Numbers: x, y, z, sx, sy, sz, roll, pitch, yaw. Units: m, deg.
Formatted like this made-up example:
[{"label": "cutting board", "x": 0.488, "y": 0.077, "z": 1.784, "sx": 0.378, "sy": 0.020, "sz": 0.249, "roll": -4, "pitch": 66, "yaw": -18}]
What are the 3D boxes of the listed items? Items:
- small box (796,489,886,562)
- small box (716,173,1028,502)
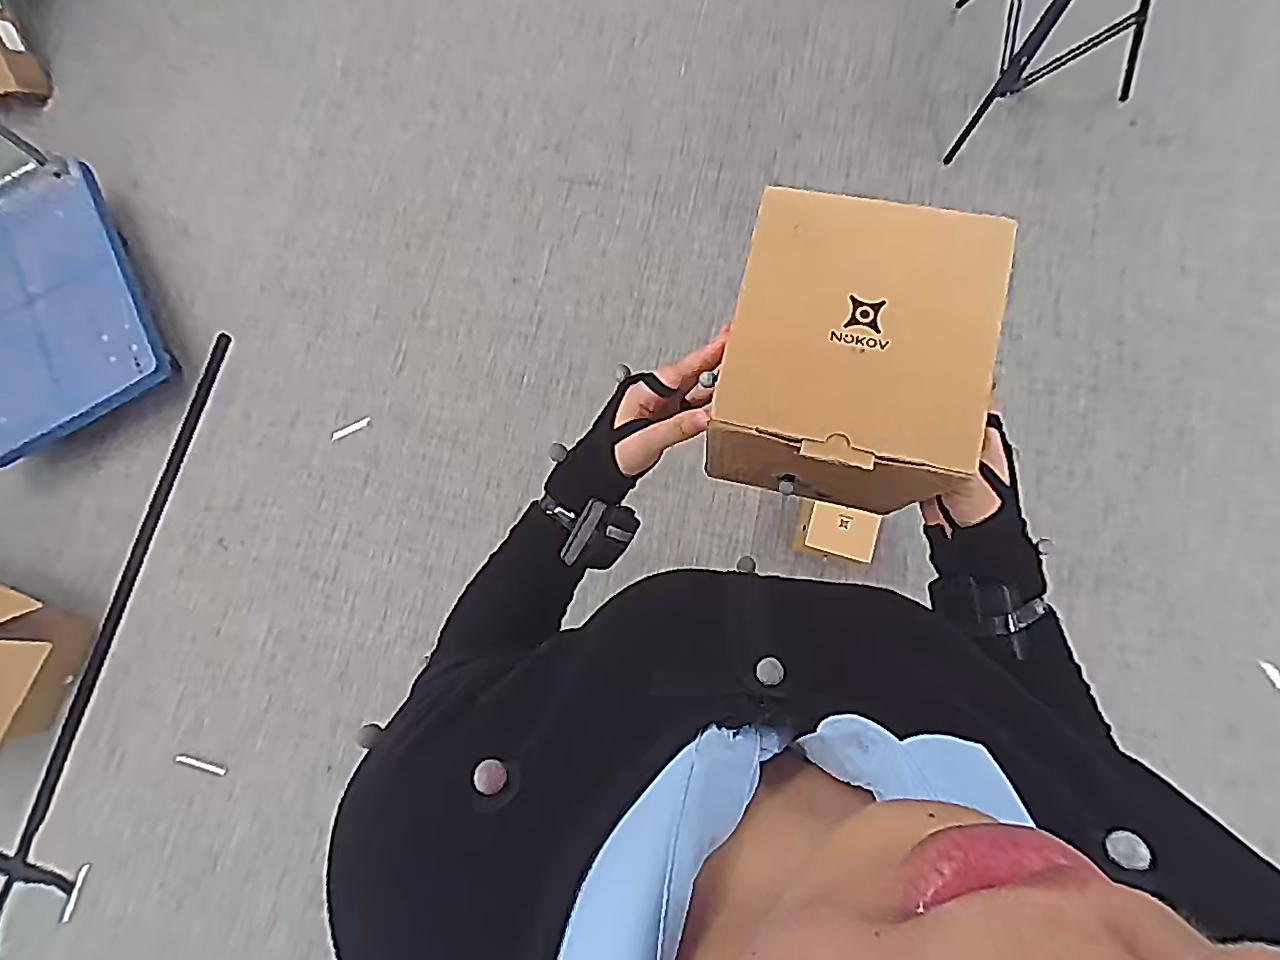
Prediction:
[{"label": "small box", "x": 0.519, "y": 0.110, "z": 1.417, "sx": 0.168, "sy": 0.176, "sz": 0.179, "roll": 16, "pitch": 81, "yaw": 7}, {"label": "small box", "x": 0.155, "y": -0.092, "z": 0.417, "sx": 0.168, "sy": 0.176, "sz": 0.179, "roll": 12, "pitch": 82, "yaw": 9}]
